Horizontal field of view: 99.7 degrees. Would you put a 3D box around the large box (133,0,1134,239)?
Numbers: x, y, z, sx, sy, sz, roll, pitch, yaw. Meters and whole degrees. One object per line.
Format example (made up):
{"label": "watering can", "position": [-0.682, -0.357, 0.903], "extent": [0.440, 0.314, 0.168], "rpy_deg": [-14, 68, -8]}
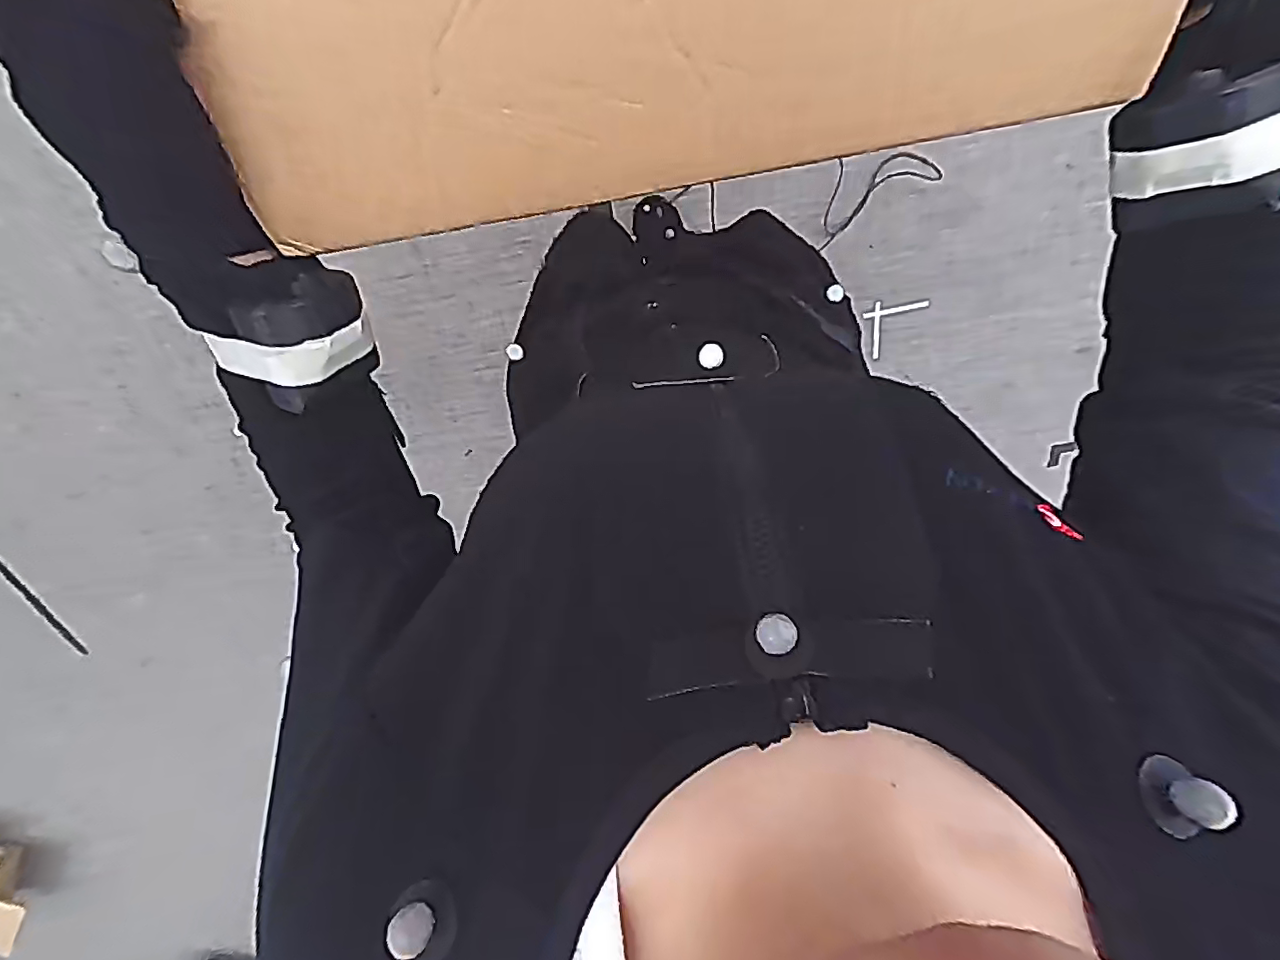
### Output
{"label": "large box", "position": [-0.014, -0.362, 0.249], "extent": [0.408, 0.320, 0.320], "rpy_deg": [-9, 136, 3]}
